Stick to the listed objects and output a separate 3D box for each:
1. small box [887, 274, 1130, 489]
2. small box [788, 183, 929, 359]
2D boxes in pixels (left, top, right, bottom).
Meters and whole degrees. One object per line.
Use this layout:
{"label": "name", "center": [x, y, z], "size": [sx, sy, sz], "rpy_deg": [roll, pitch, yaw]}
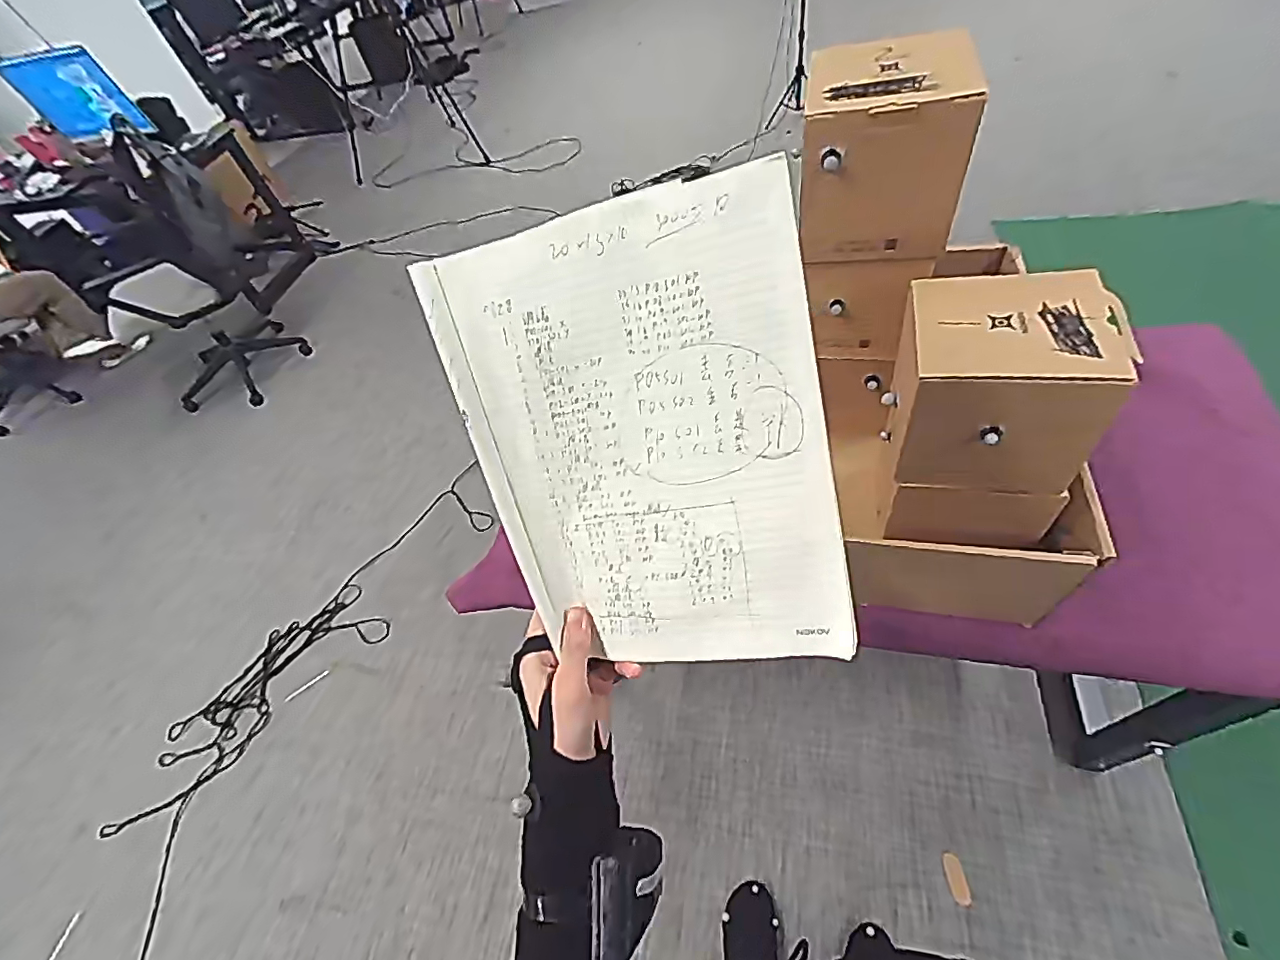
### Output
{"label": "small box", "center": [0.381, -0.104, 0.600], "size": [0.179, 0.176, 0.168], "rpy_deg": [4, 52, 19]}
{"label": "small box", "center": [0.304, -0.290, 0.772], "size": [0.168, 0.176, 0.179], "rpy_deg": [5, 56, 17]}
